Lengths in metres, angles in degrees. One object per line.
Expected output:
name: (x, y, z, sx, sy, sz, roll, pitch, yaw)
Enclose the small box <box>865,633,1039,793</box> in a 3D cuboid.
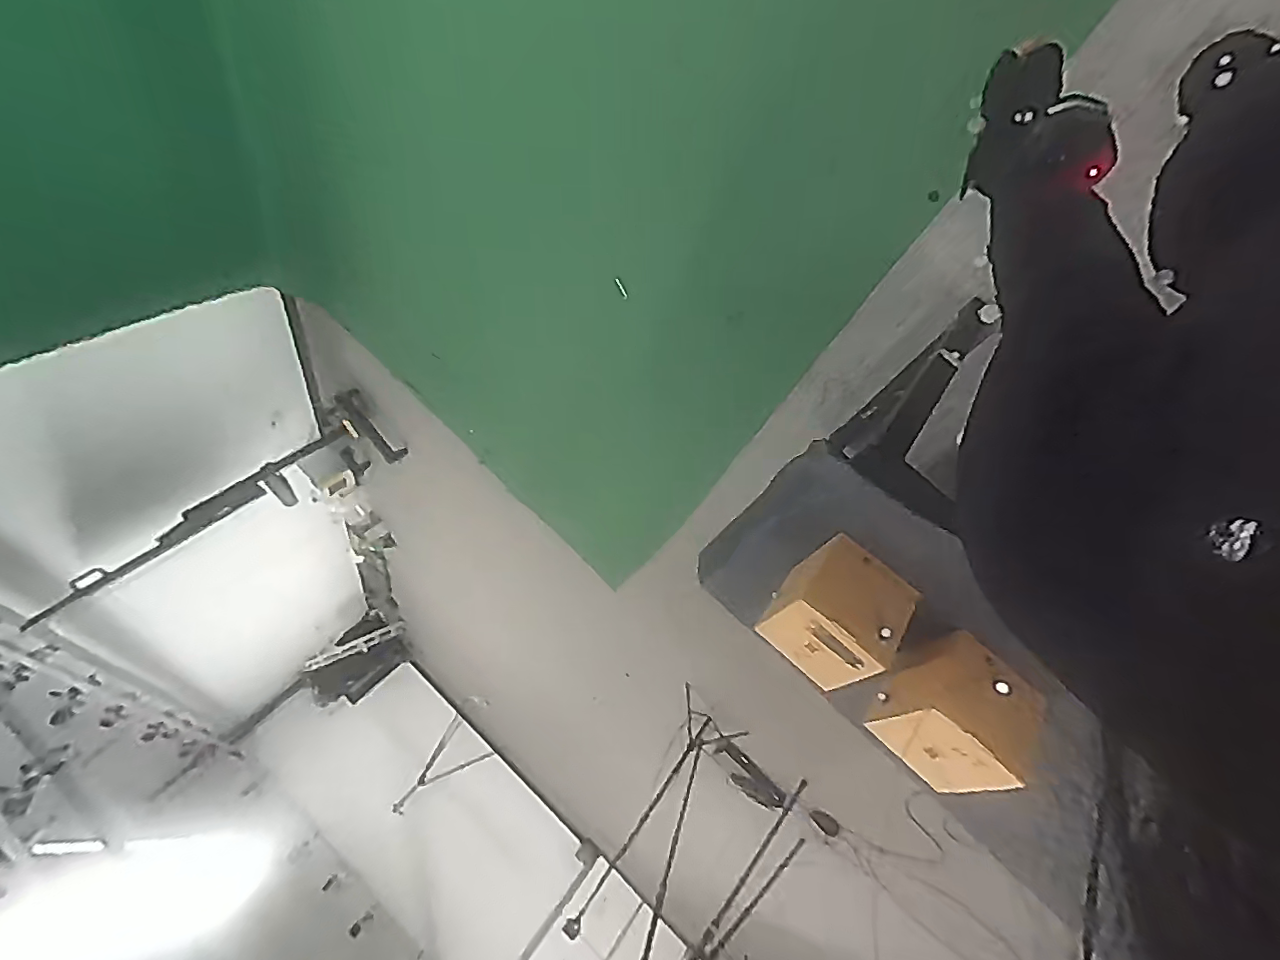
small box: (0.523, 0.389, 0.906, 0.168, 0.176, 0.179, 41, 144, 8)
